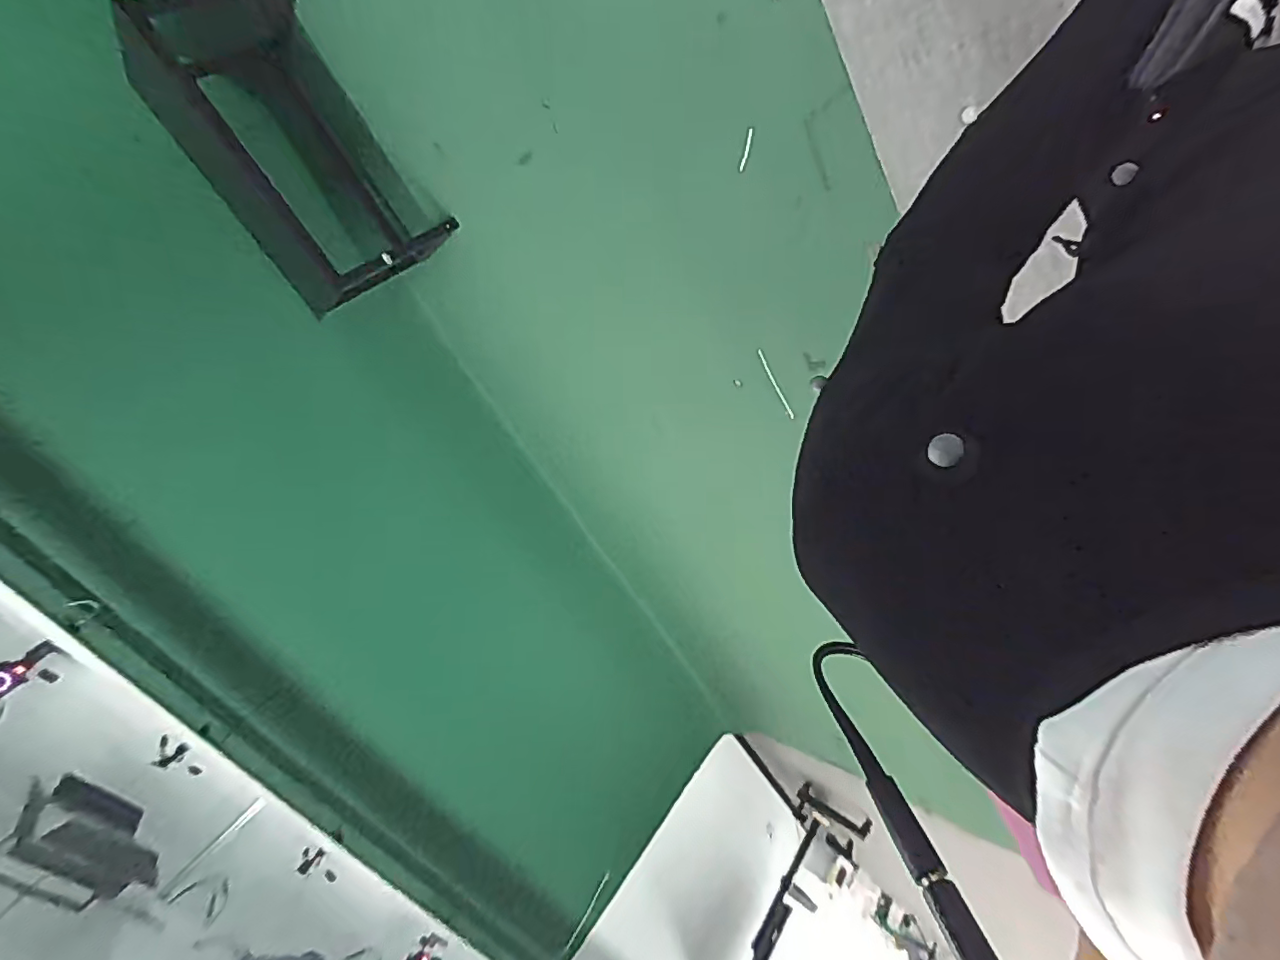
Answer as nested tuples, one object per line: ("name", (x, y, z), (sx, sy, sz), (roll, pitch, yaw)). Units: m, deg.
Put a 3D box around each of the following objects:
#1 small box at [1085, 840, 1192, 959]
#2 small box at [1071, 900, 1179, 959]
("small box", (1.264, 1.066, 1.367), (0.168, 0.176, 0.179), (-2, 127, 53))
("small box", (1.154, 1.155, 1.283), (0.168, 0.176, 0.179), (-5, 127, 54))
